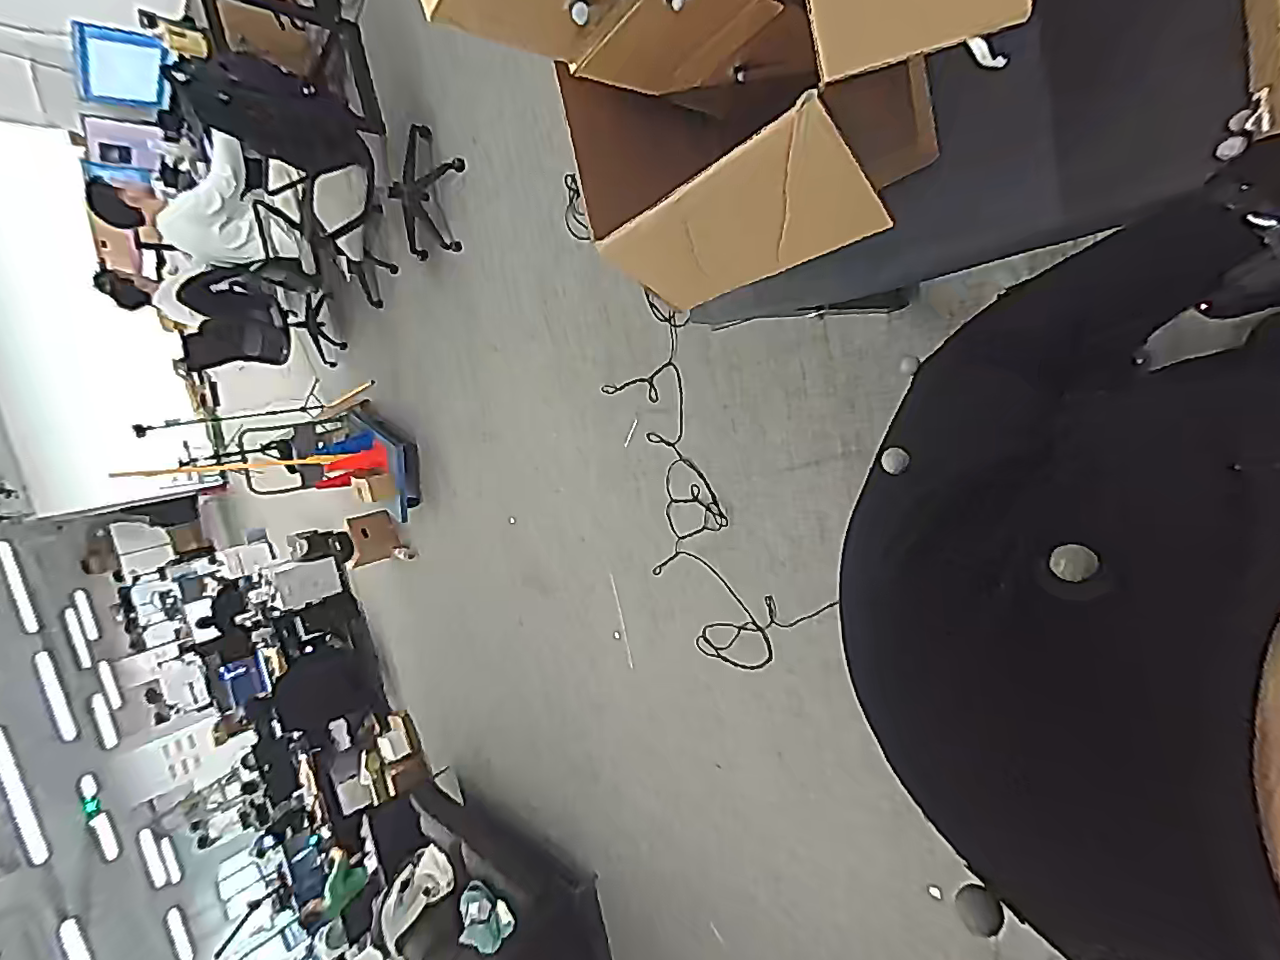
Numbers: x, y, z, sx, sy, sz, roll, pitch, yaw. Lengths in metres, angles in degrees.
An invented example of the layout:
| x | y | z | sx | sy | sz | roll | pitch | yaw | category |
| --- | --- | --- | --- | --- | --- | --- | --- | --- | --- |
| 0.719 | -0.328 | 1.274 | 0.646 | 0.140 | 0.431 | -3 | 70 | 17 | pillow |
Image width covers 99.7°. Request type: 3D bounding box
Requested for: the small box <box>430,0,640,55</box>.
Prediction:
| x | y | z | sx | sy | sz | roll | pitch | yaw | category |
| --- | --- | --- | --- | --- | --- | --- | --- | --- | --- |
| -0.087 | -0.514 | 0.457 | 0.168 | 0.176 | 0.179 | -4 | 104 | 48 | small box |
